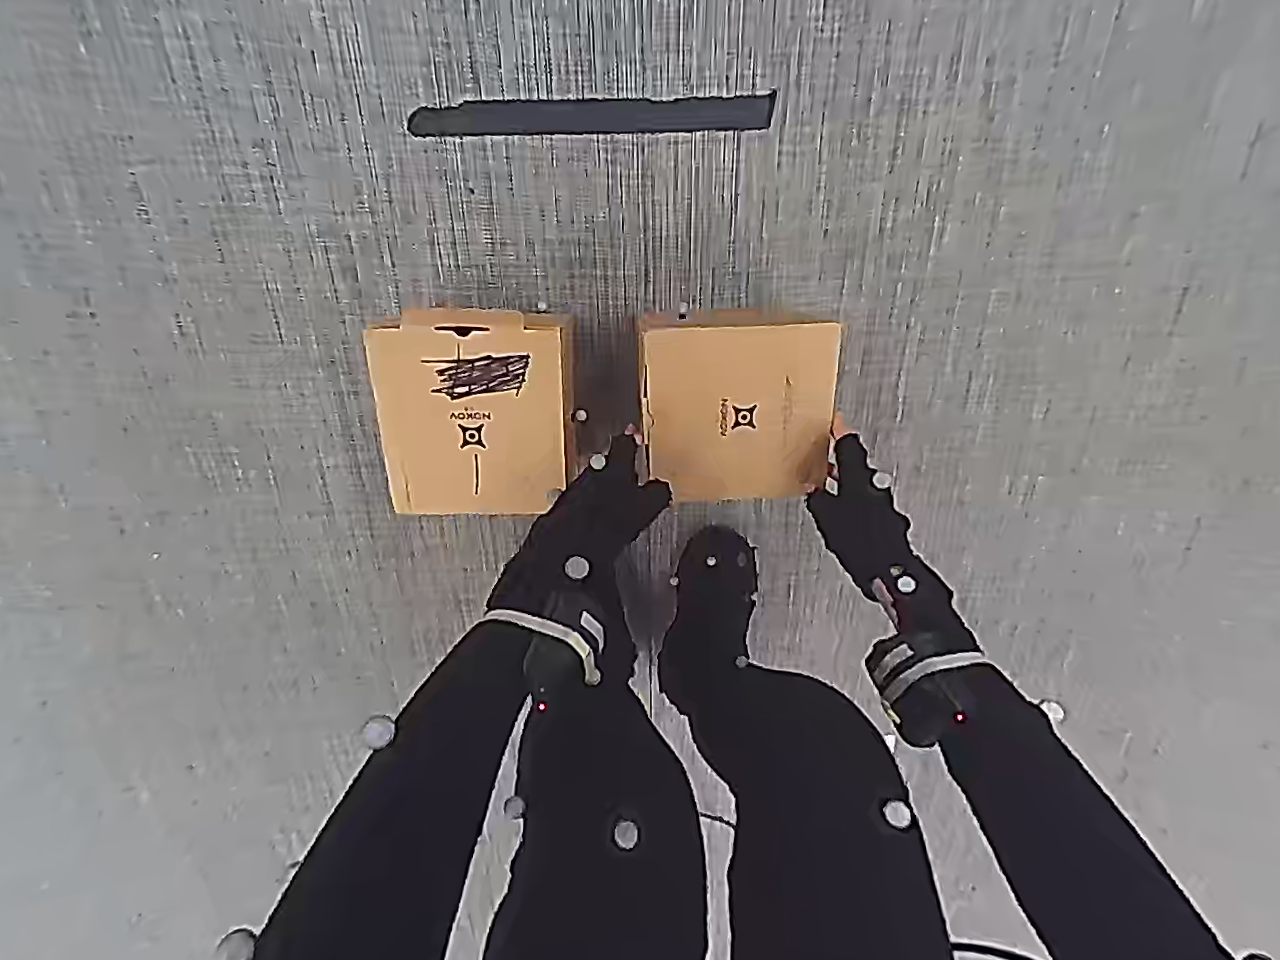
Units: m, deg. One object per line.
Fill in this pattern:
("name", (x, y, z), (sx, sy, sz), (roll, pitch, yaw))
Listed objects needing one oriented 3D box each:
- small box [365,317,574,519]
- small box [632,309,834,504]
("small box", (-0.157, -0.073, 0.561), (0.168, 0.176, 0.179), (0, 112, -3))
("small box", (0.081, -0.086, 0.571), (0.179, 0.176, 0.168), (-4, 113, -3))
